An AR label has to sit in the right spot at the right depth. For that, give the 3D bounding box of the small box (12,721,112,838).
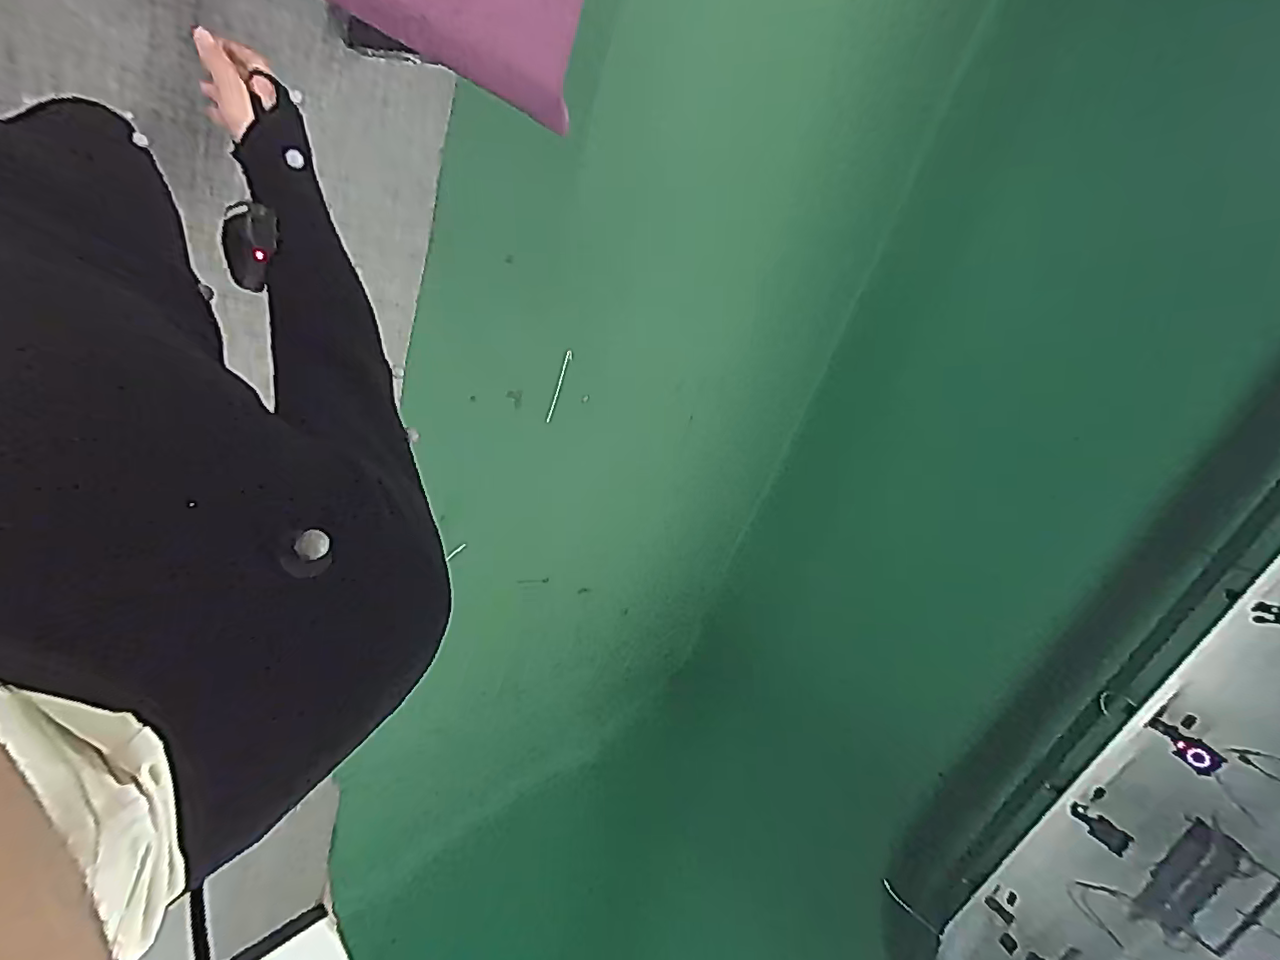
[{"bbox_3d":[-1.533,0.784,1.433,0.168,0.176,0.179,-1,120,-52],"label":"small box"}]
